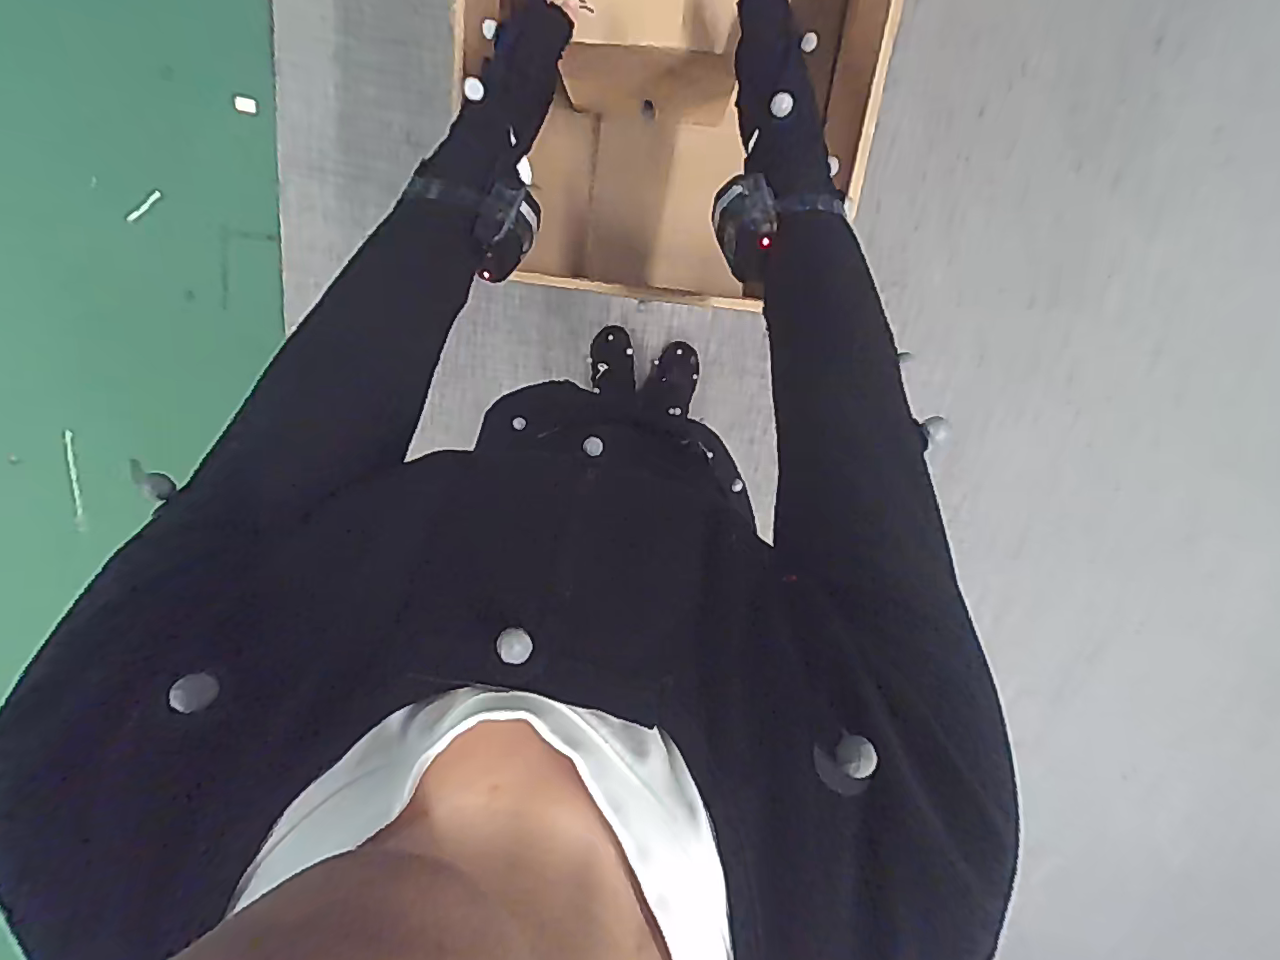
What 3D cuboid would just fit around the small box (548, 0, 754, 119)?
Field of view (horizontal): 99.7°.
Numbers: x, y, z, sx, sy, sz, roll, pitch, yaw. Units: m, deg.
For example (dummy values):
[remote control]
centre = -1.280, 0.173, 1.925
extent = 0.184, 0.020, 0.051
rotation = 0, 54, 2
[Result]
[small box]
centre = 0.015, -0.476, 0.525
extent = 0.179, 0.176, 0.168
rotation = 6, 105, 0
